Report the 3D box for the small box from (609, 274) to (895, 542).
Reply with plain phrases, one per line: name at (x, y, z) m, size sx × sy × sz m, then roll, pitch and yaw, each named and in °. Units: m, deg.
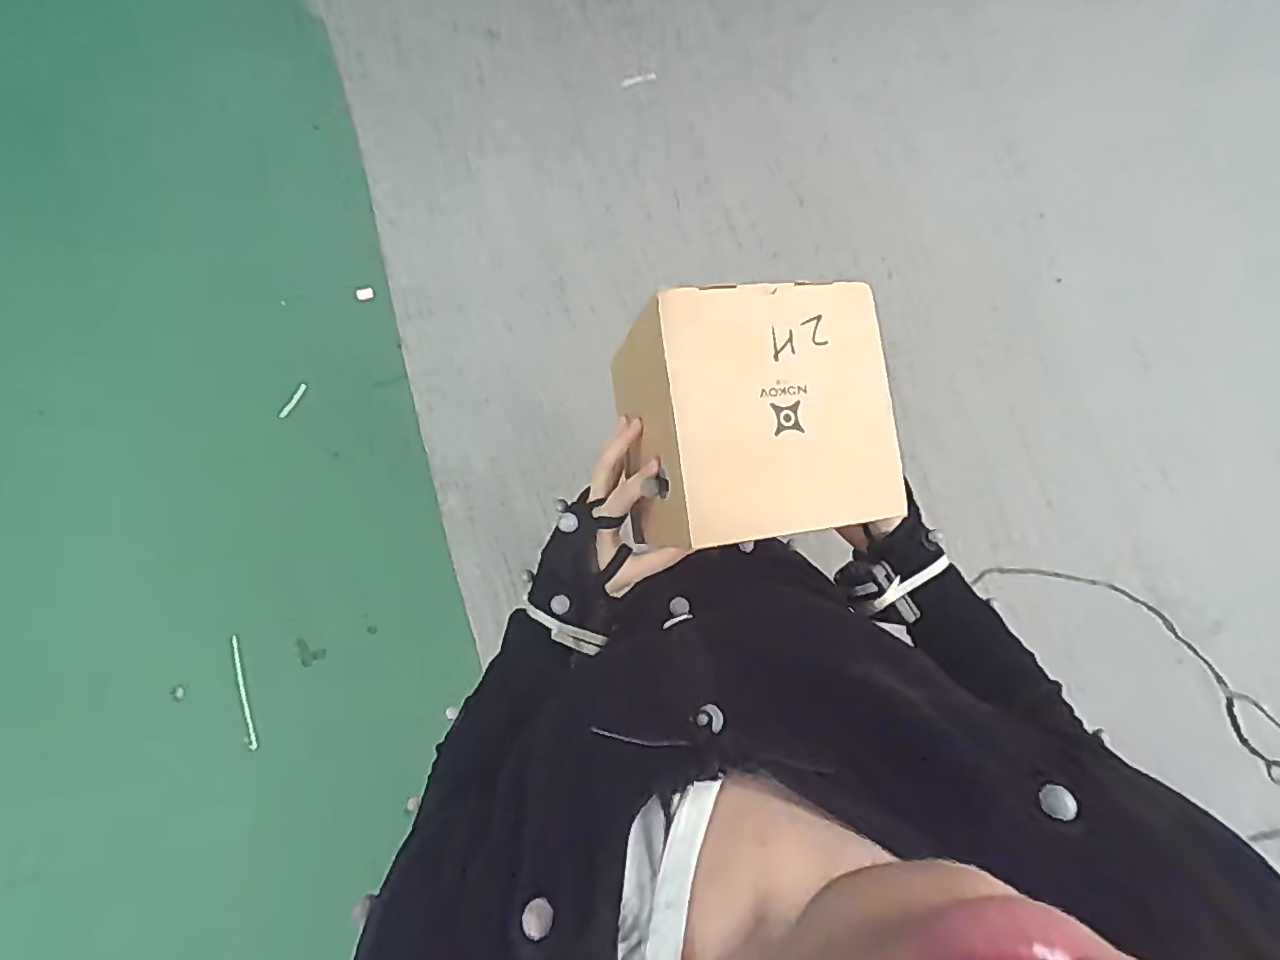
small box at (0.076, -0.049, 0.450) m, size 0.168 × 0.176 × 0.179 m, roll -8°, pitch 87°, yaw -14°
